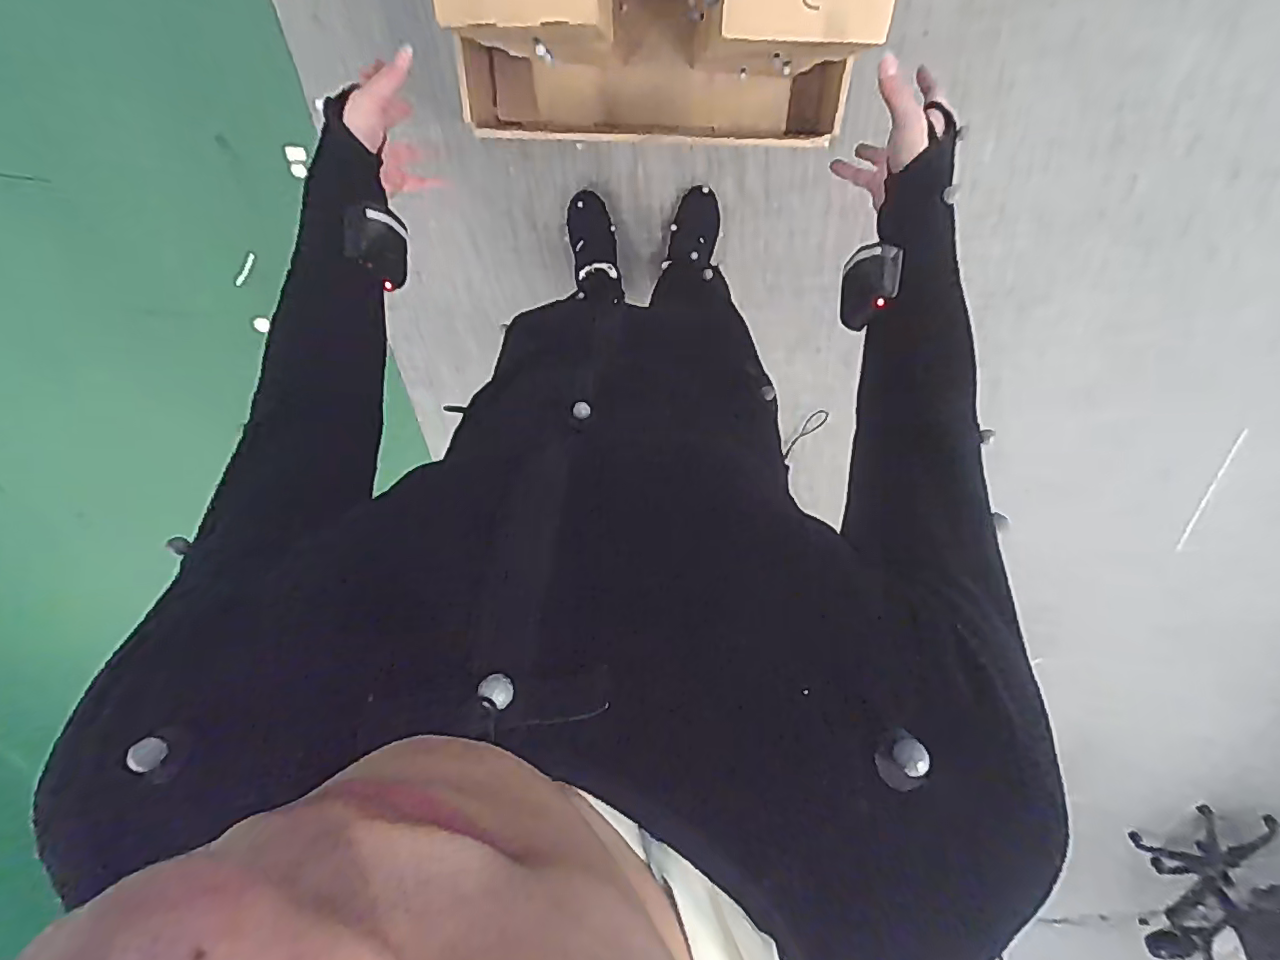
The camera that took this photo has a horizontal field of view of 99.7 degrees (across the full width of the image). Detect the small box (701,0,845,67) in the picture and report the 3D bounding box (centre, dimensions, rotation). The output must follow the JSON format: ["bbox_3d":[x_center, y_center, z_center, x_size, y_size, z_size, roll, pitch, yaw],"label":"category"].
[{"bbox_3d":[0.169,-0.645,0.690,0.168,0.176,0.179,4,122,1],"label":"small box"}]

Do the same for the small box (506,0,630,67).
[{"bbox_3d":[-0.109,-0.755,0.838,0.179,0.176,0.168,5,124,0],"label":"small box"}]

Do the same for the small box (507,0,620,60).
[{"bbox_3d":[-0.114,-0.667,0.699,0.168,0.176,0.179,4,124,1],"label":"small box"}]

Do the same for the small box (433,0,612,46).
[{"bbox_3d":[-0.120,-0.575,0.563,0.168,0.176,0.179,1,124,3],"label":"small box"}]
